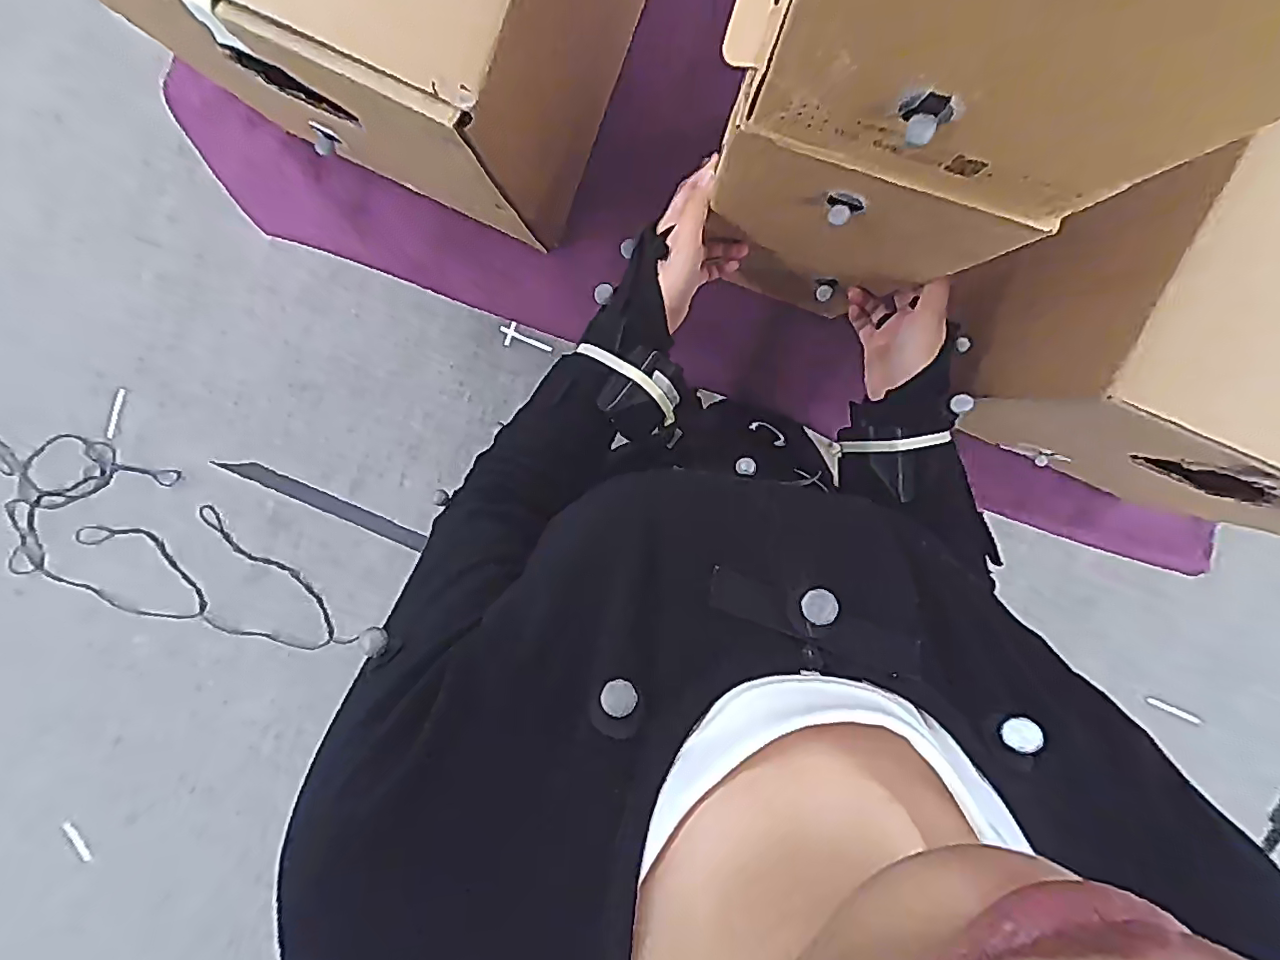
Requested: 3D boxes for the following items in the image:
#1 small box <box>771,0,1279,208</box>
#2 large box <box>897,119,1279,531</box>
[{"bbox_3d":[0.156,-0.221,0.172,0.168,0.176,0.179,16,100,-2],"label":"small box"},{"bbox_3d":[0.488,-0.191,0.435,0.320,0.320,0.408,23,98,-3],"label":"large box"}]
